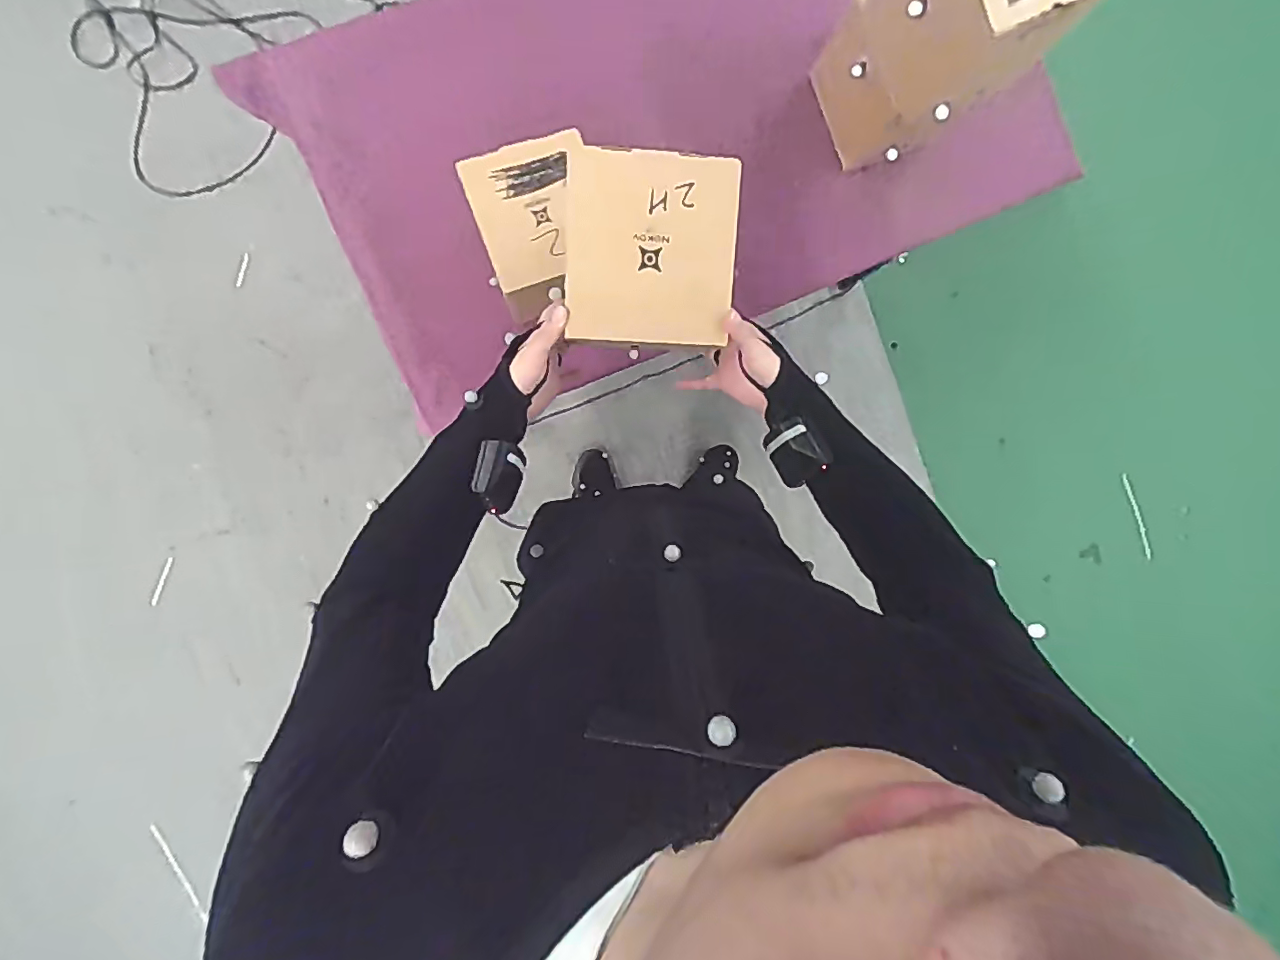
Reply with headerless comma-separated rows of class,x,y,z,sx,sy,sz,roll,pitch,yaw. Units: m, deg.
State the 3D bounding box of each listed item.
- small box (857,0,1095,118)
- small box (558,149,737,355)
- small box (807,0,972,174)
small box,0.406,-0.594,0.673,0.168,0.176,0.179,-24,93,-4
small box,0.000,-0.234,0.601,0.168,0.176,0.179,2,101,-6
small box,0.384,-0.619,0.834,0.168,0.176,0.179,-21,95,-4
